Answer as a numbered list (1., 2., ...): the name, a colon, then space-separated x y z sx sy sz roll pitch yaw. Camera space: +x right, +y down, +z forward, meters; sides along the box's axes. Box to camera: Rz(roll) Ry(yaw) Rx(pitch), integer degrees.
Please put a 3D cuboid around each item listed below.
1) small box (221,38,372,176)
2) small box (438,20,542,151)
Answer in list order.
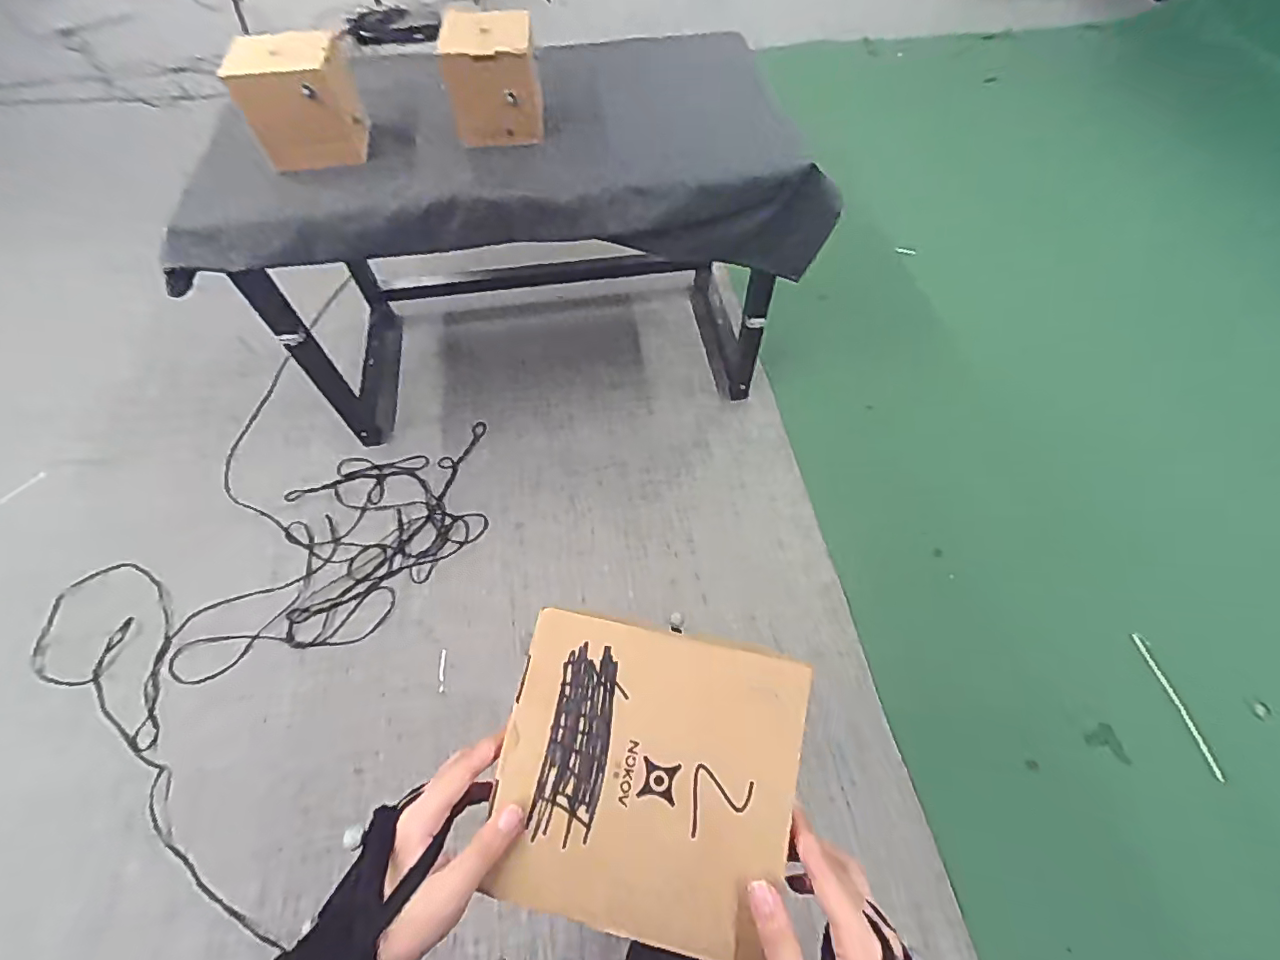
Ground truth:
1. small box: -0.648 -0.713 1.043 0.179 0.176 0.168 -9 58 -6
2. small box: -0.290 -0.784 1.083 0.168 0.176 0.179 -4 57 -3
